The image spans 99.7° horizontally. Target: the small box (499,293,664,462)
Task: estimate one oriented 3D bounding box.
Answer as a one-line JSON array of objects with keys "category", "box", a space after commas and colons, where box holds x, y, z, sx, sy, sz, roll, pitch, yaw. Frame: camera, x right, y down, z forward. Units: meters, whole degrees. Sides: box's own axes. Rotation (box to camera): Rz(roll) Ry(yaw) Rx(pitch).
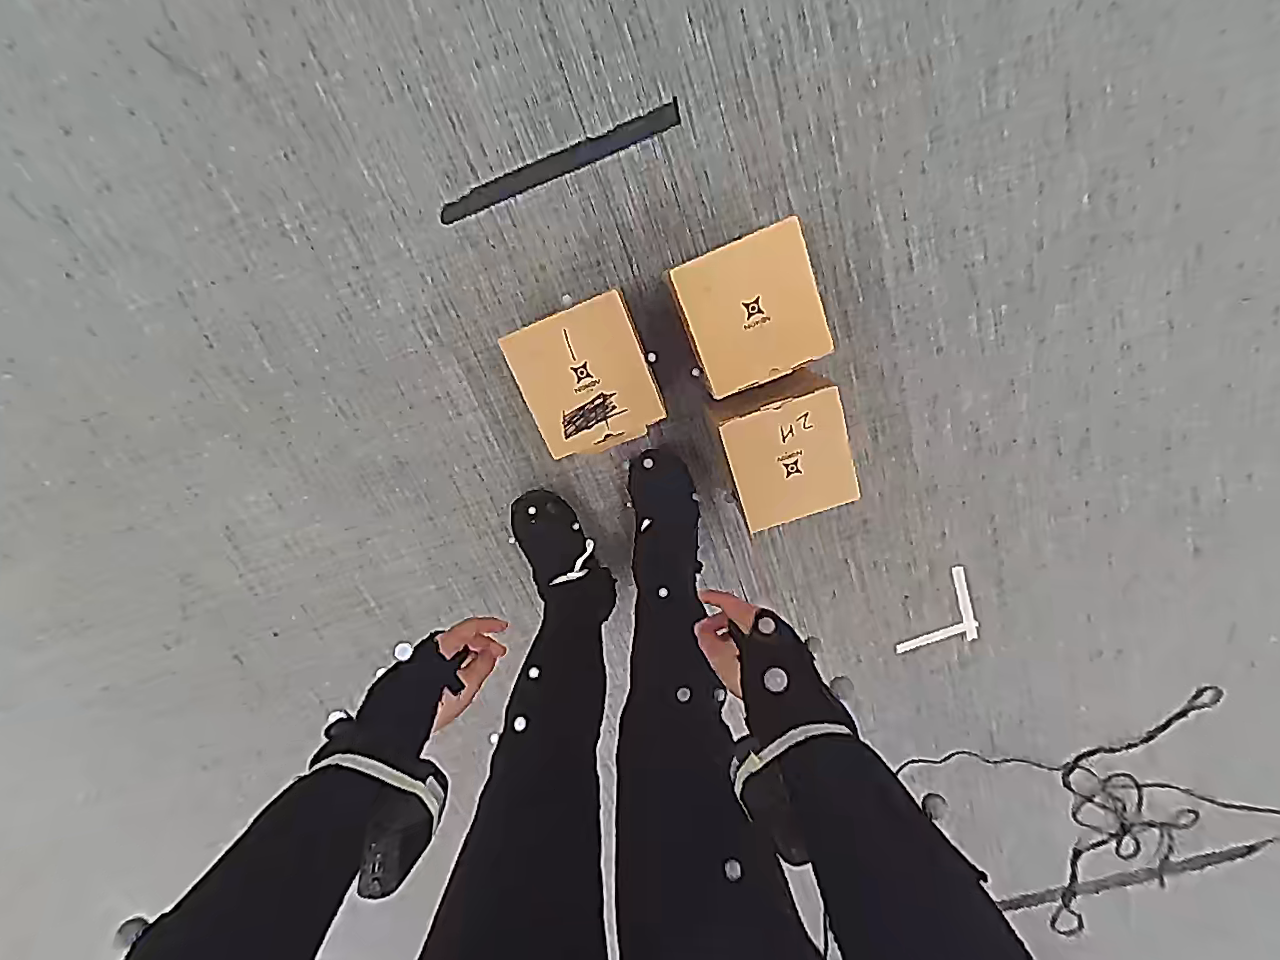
[{"category": "small box", "box": [-0.072, -0.153, 0.769, 0.168, 0.176, 0.179, -21, 109, 6]}]
